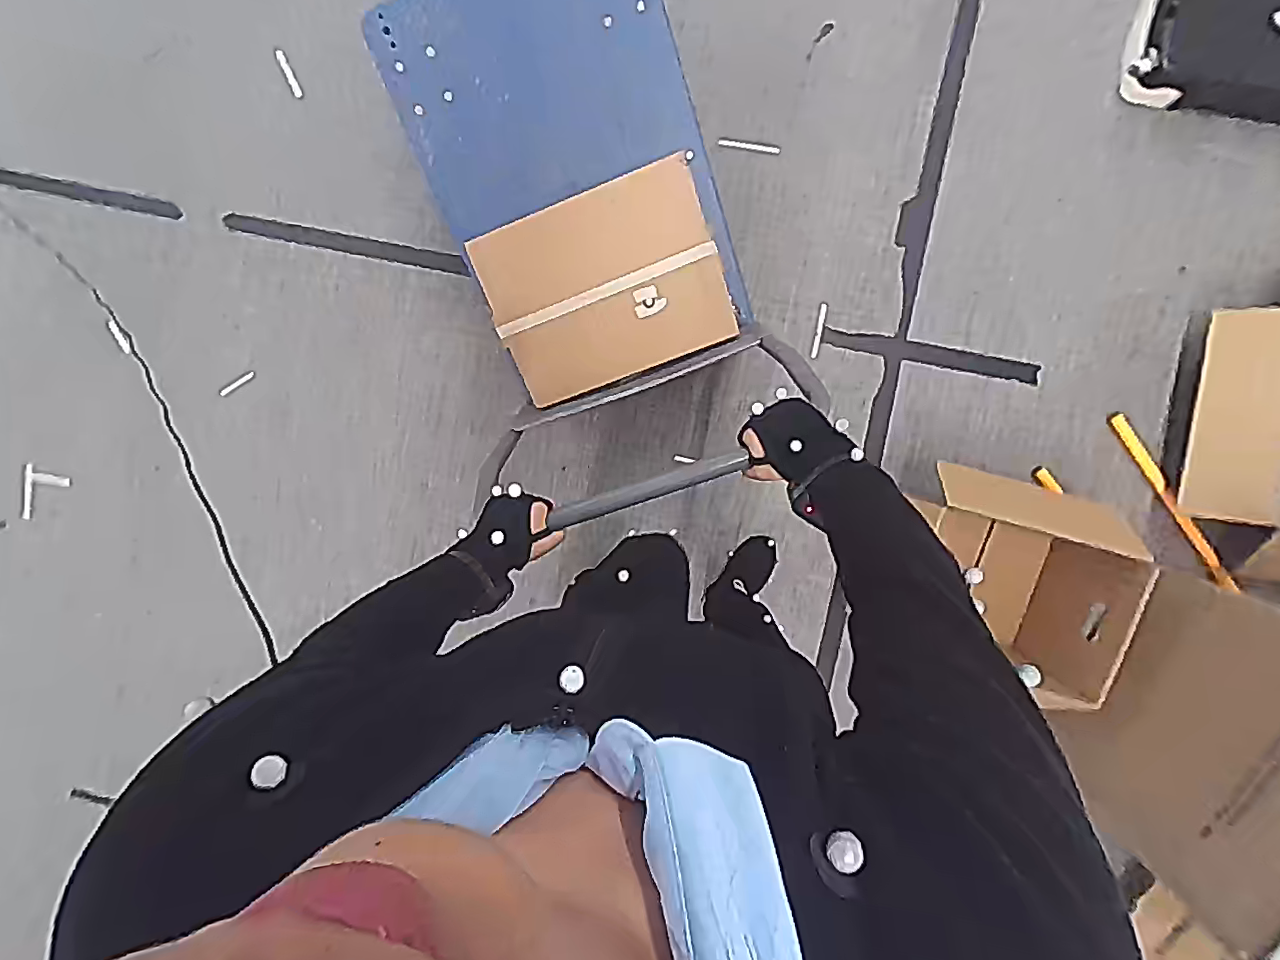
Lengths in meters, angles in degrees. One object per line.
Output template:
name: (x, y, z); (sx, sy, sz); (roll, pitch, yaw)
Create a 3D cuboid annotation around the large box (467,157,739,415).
large box: (-0.060, -0.368, 1.083); (0.408, 0.320, 0.320); (-20, 108, 7)
